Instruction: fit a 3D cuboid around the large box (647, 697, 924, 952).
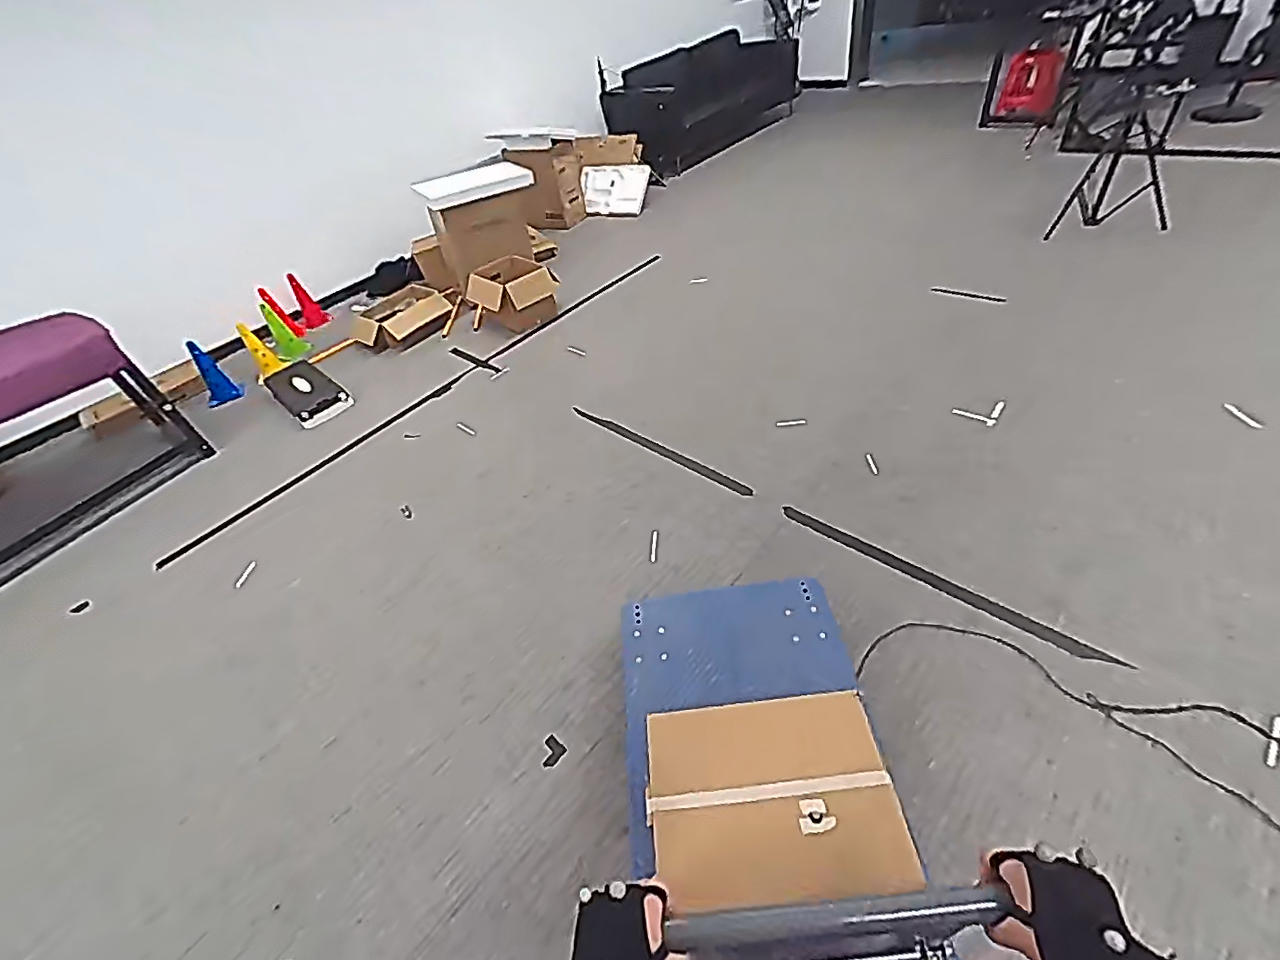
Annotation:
[{"bbox_3d":[0.237,0.647,1.016,0.408,0.320,0.320,-8,44,3],"label":"large box"}]
